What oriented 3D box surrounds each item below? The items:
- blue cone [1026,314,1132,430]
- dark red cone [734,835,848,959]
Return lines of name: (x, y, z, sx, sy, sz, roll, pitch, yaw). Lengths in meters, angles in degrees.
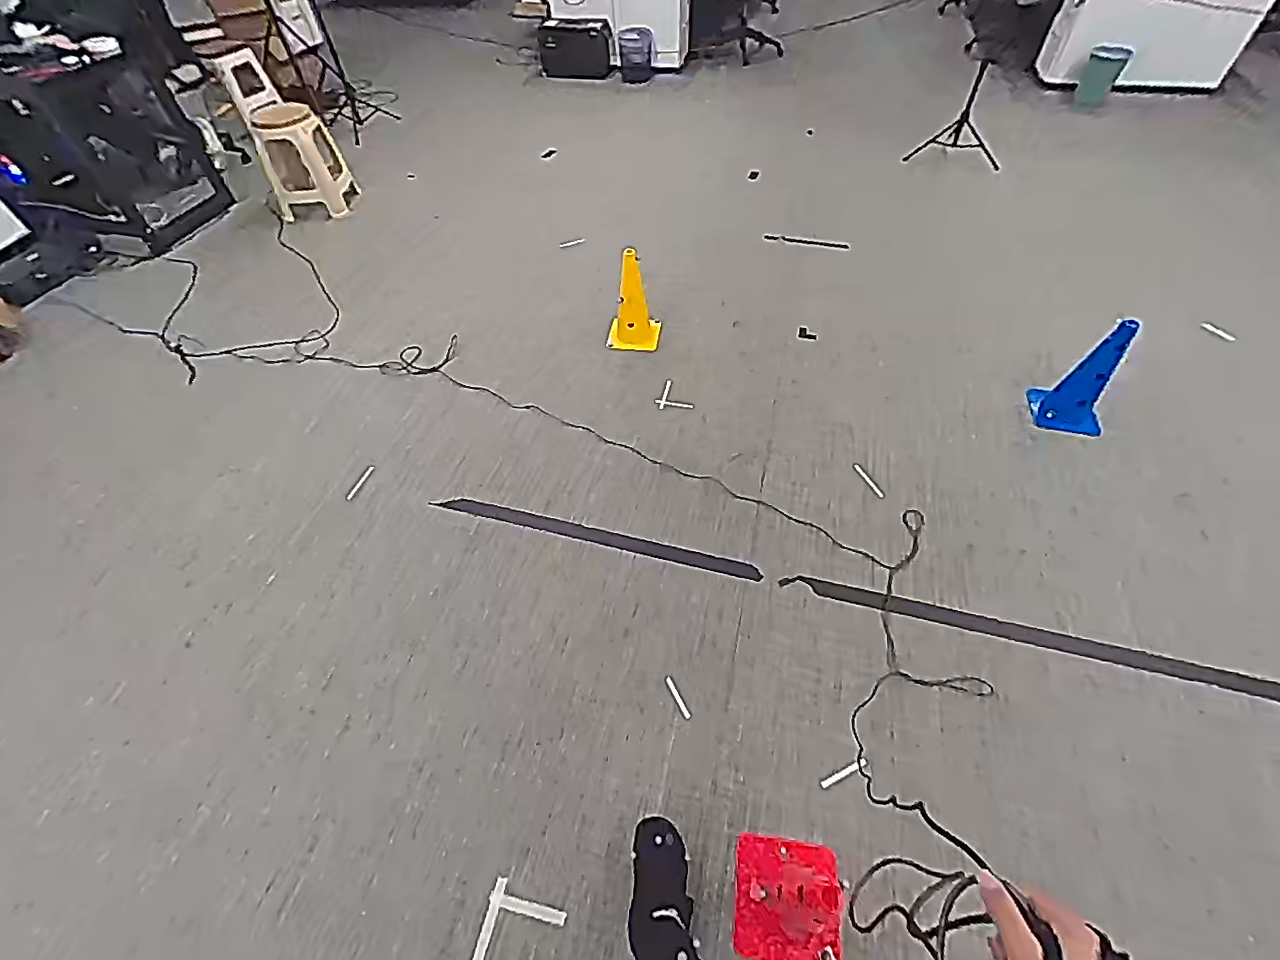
blue cone: (1.430, -0.351, 1.719, 0.193, 0.380, 0.192, 11, 51, 12)
dark red cone: (0.275, 0.691, 0.894, 0.202, 0.394, 0.201, 5, 50, 7)
